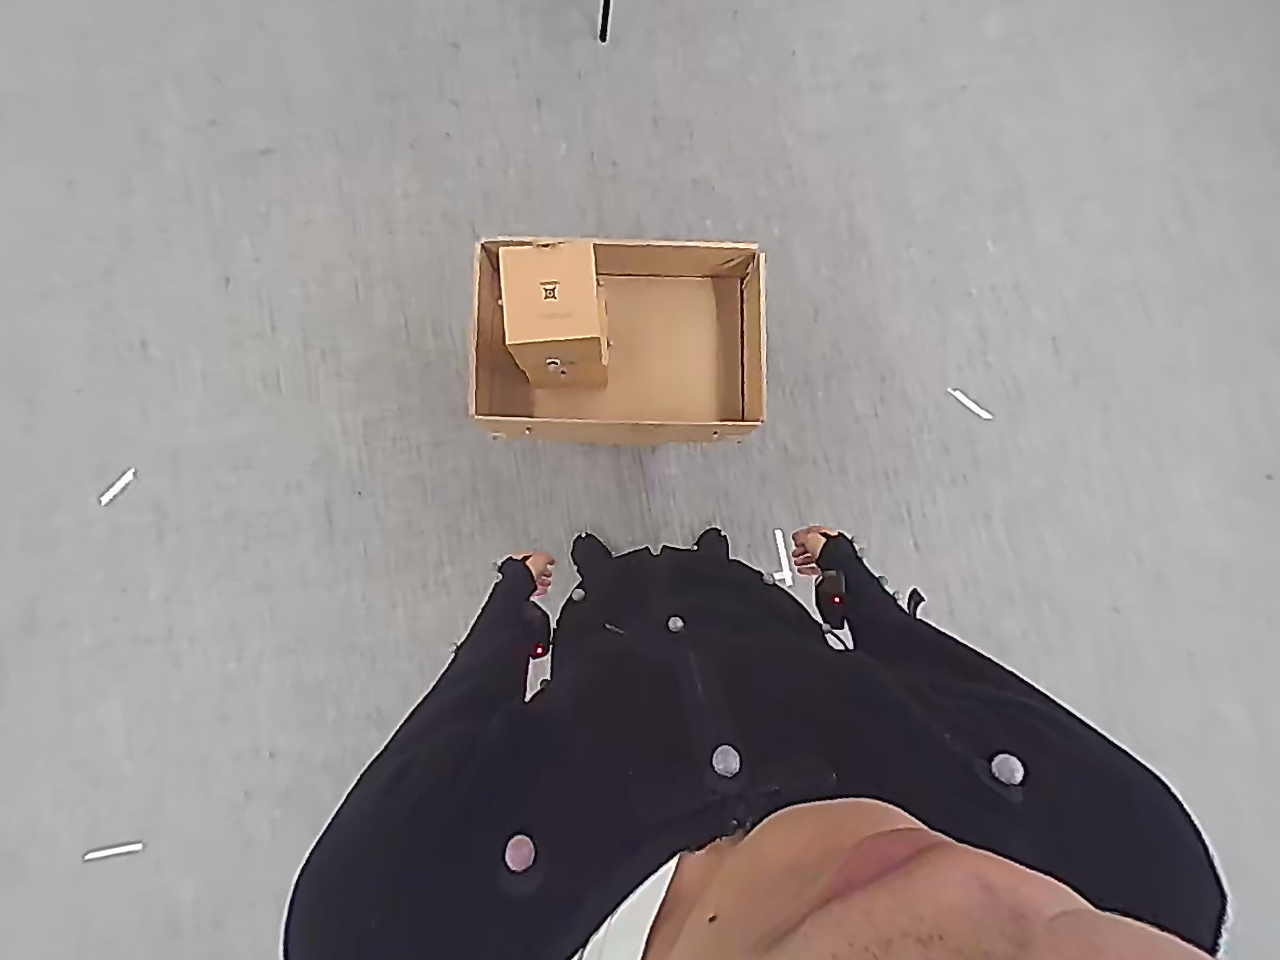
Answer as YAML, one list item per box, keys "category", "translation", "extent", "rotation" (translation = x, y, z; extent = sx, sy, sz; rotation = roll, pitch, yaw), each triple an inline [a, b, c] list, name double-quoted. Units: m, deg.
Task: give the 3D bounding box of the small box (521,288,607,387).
- category: "small box"
  translation: [-0.161, -0.303, 1.176]
  extent: [0.179, 0.176, 0.168]
  rotation: [-3, 86, -5]

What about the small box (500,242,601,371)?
- category: "small box"
  translation: [-0.161, -0.317, 1.012]
  extent: [0.168, 0.176, 0.179]
  rotation: [-5, 85, -3]
